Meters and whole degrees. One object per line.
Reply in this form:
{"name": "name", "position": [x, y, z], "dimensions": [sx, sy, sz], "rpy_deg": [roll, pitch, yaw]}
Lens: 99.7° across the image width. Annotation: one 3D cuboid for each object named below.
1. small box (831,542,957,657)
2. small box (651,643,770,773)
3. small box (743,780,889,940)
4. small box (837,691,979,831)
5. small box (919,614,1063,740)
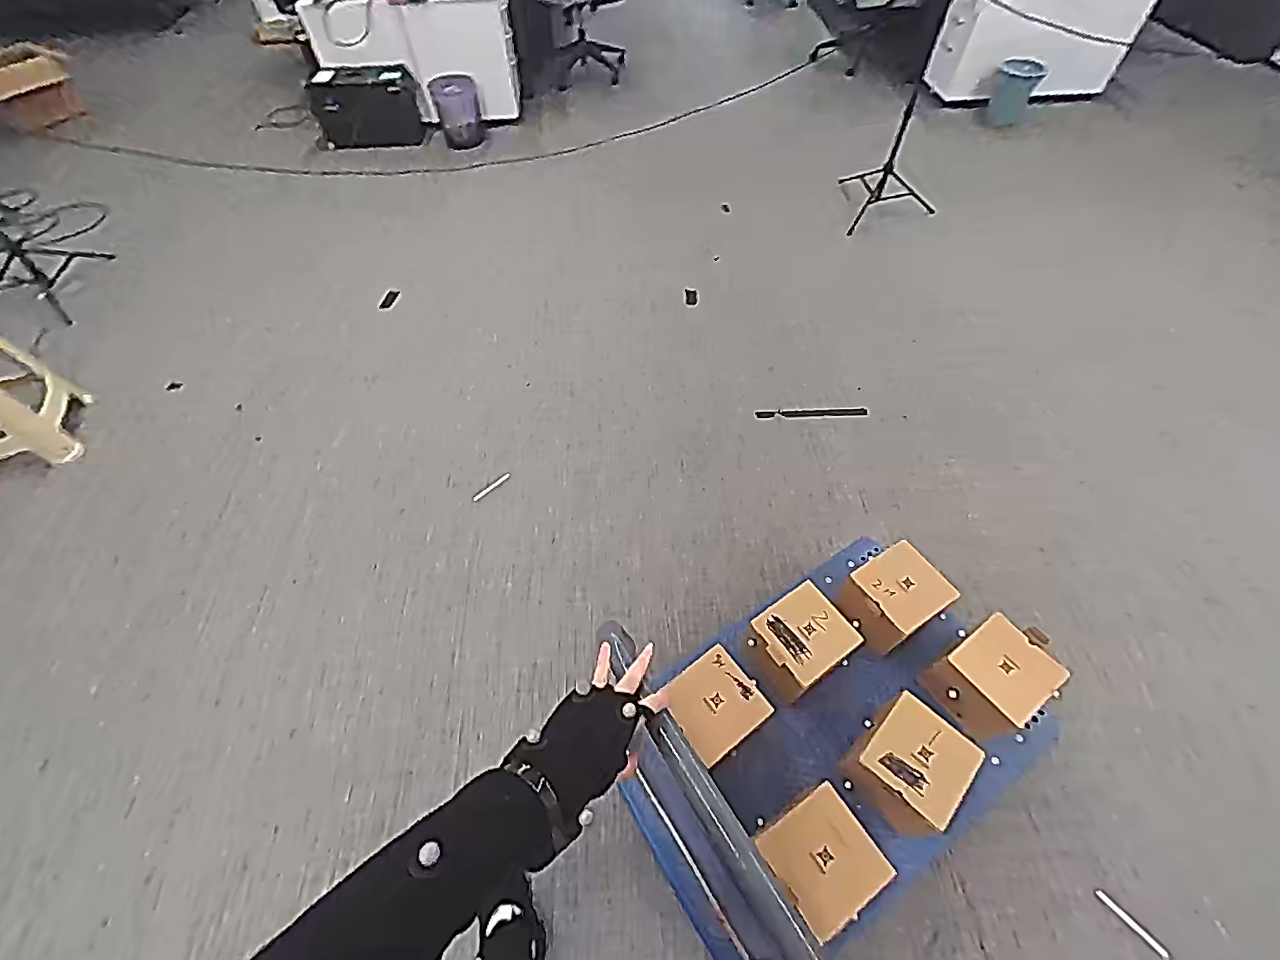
{"name": "small box", "position": [0.577, 0.281, 1.256], "dimensions": [0.179, 0.176, 0.168], "rpy_deg": [-27, 59, -17]}
{"name": "small box", "position": [0.139, 0.477, 1.121], "dimensions": [0.179, 0.176, 0.168], "rpy_deg": [-31, 61, -19]}
{"name": "small box", "position": [0.304, 0.682, 0.980], "dimensions": [0.179, 0.176, 0.168], "rpy_deg": [-27, 60, -18]}
{"name": "small box", "position": [0.513, 0.557, 1.065], "dimensions": [0.179, 0.176, 0.168], "rpy_deg": [-39, 63, -24]}
{"name": "small box", "position": [0.734, 0.426, 1.157], "dimensions": [0.179, 0.176, 0.168], "rpy_deg": [-30, 60, -19]}
